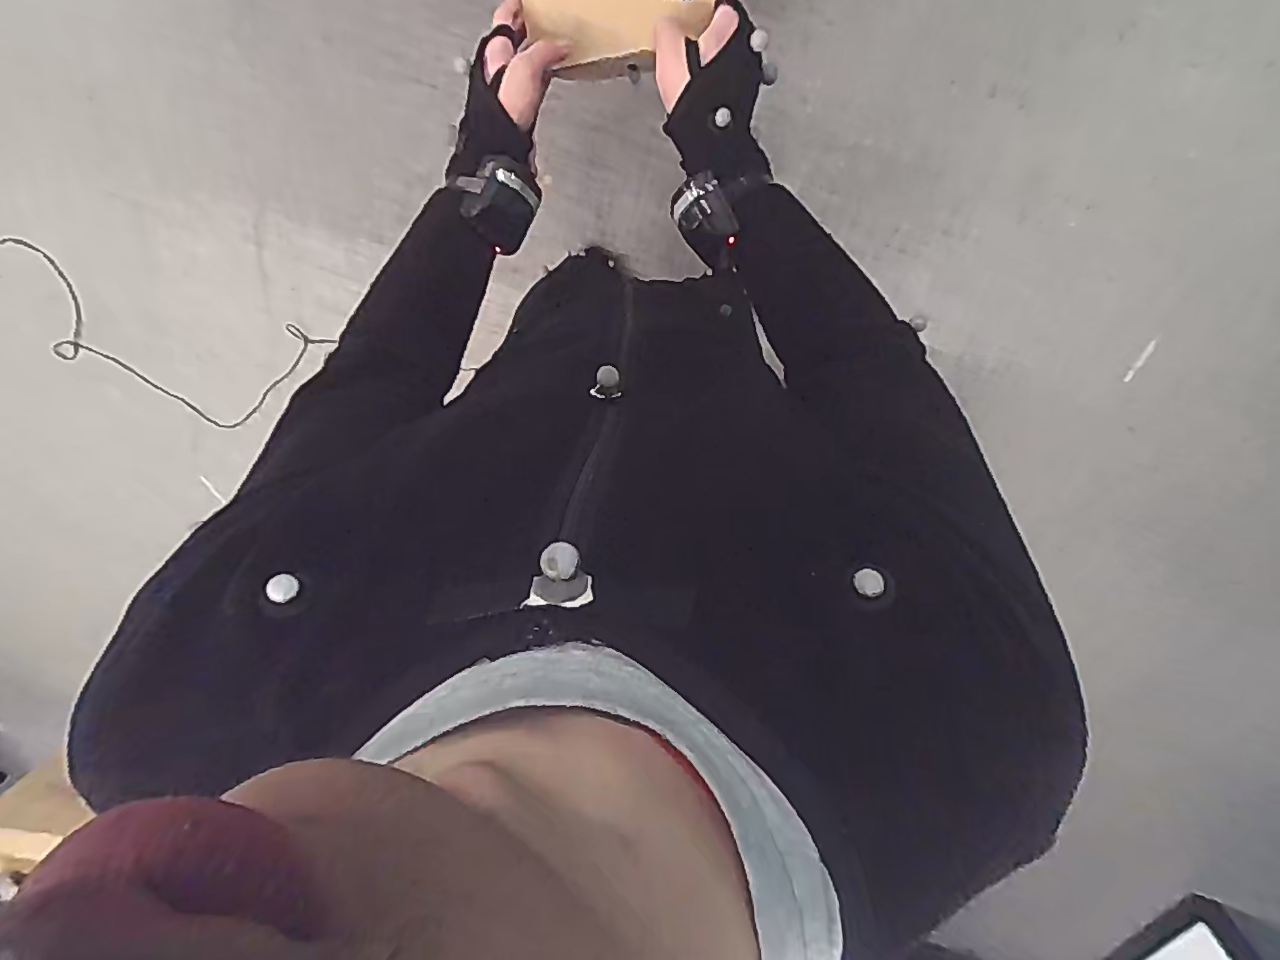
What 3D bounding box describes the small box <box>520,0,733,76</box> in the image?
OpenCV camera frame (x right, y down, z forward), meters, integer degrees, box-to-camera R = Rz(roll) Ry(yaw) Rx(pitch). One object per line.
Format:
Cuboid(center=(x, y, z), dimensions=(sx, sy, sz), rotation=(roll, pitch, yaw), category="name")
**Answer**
Cuboid(center=(-0.007, -0.484, 0.489), dimensions=(0.179, 0.176, 0.168), rotation=(1, 122, 14), category="small box")
